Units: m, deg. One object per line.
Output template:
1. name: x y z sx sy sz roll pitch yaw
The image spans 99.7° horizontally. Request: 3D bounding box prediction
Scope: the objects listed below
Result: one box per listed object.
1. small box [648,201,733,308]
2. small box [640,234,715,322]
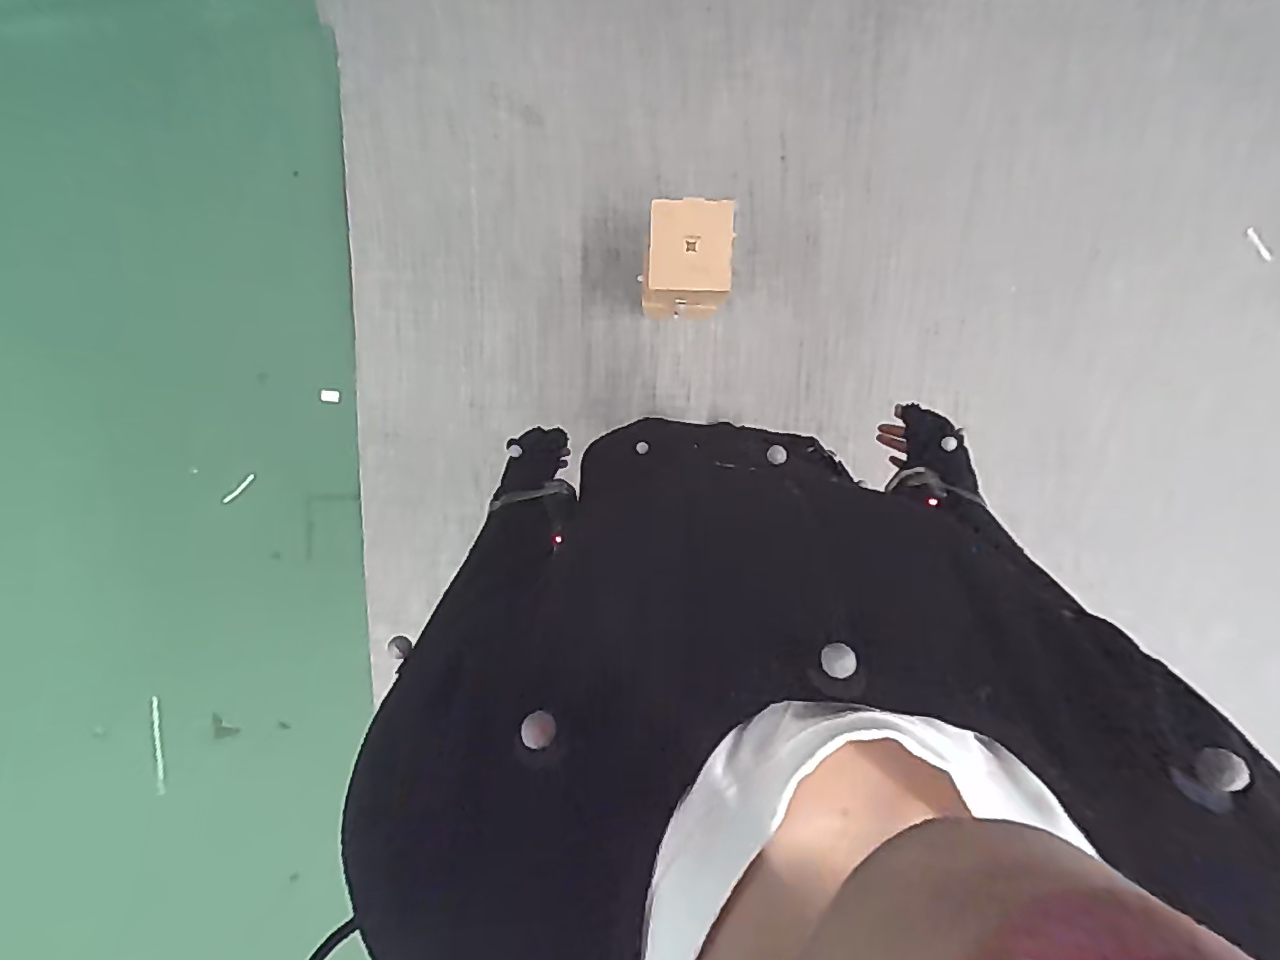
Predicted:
1. small box: 0.103 -0.477 1.163 0.168 0.176 0.179 2 97 3
2. small box: 0.094 -0.488 1.324 0.179 0.176 0.168 3 97 2
